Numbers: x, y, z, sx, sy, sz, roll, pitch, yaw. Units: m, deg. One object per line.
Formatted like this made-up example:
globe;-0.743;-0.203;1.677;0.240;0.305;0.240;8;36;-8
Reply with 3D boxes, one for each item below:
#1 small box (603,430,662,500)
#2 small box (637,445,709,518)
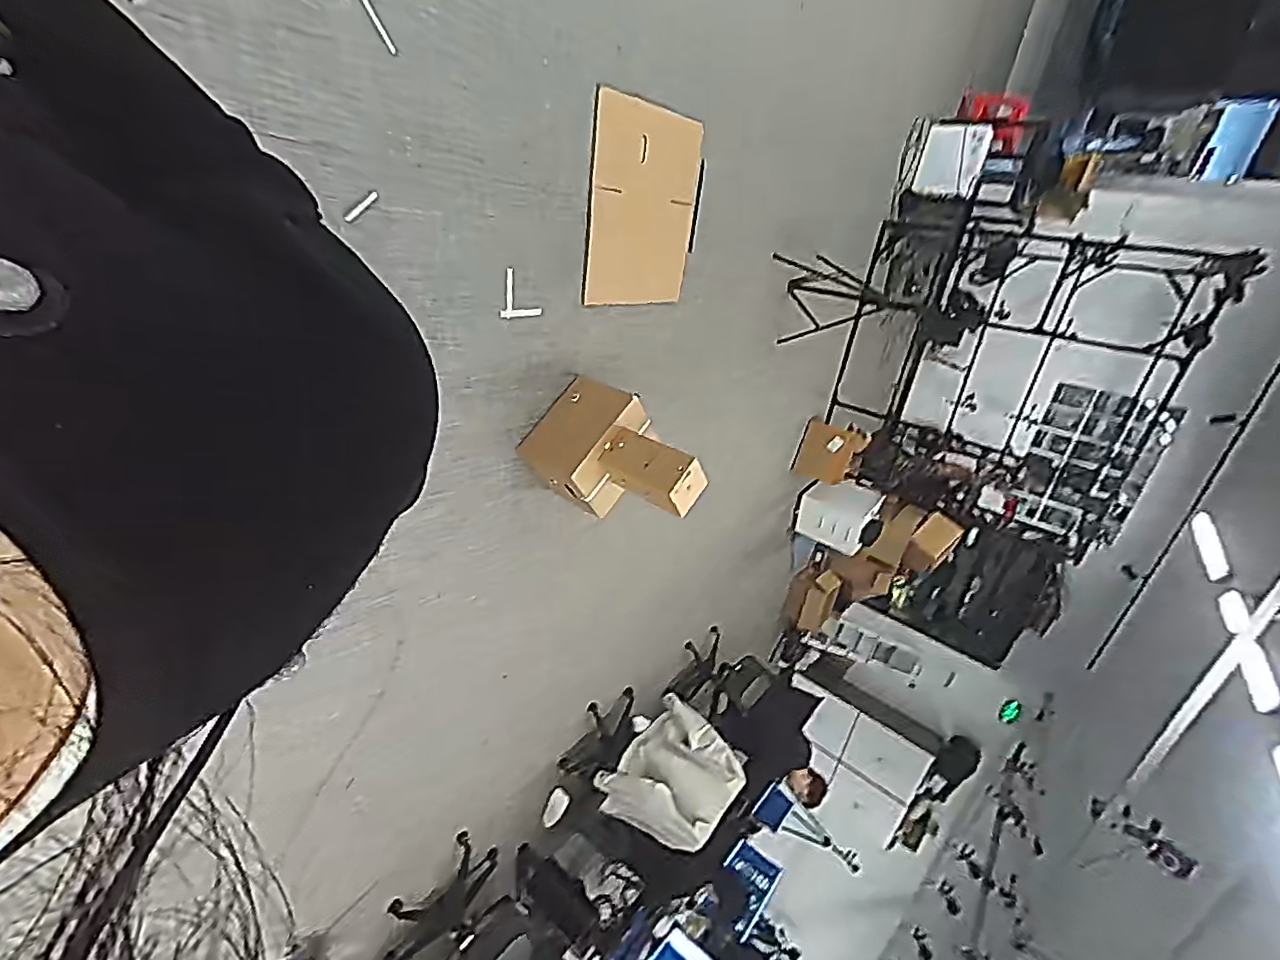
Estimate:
small box;-0.007;-0.060;2.001;0.168;0.176;0.179;-54;144;-16
small box;0.118;0.000;1.913;0.168;0.176;0.179;-54;146;-16
